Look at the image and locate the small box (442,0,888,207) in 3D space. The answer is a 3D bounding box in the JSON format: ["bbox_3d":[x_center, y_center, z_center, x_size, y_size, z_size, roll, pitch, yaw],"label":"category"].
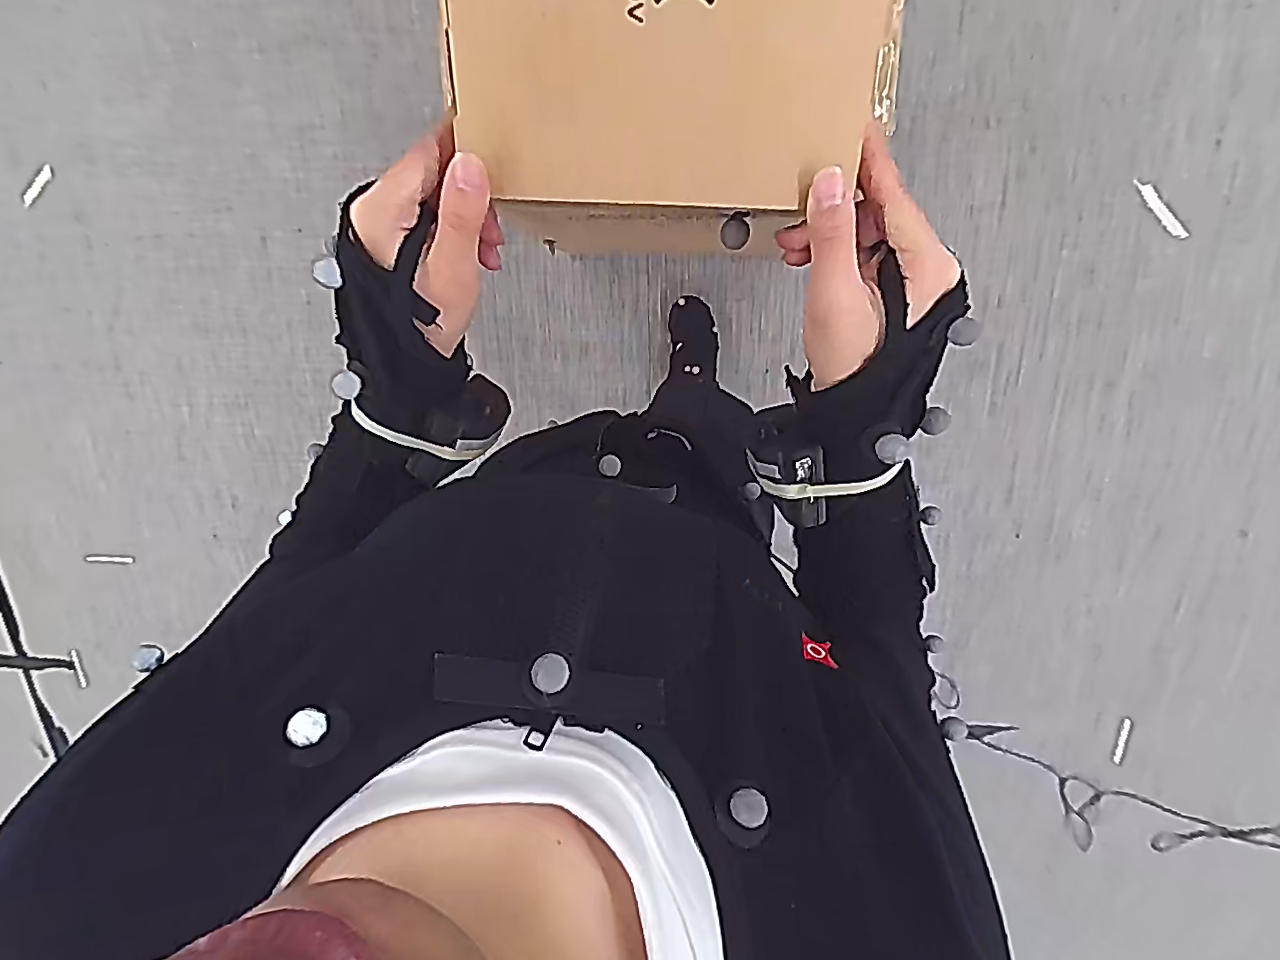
[{"bbox_3d":[0.012,-0.235,0.273,0.179,0.176,0.168,3,115,1],"label":"small box"}]
